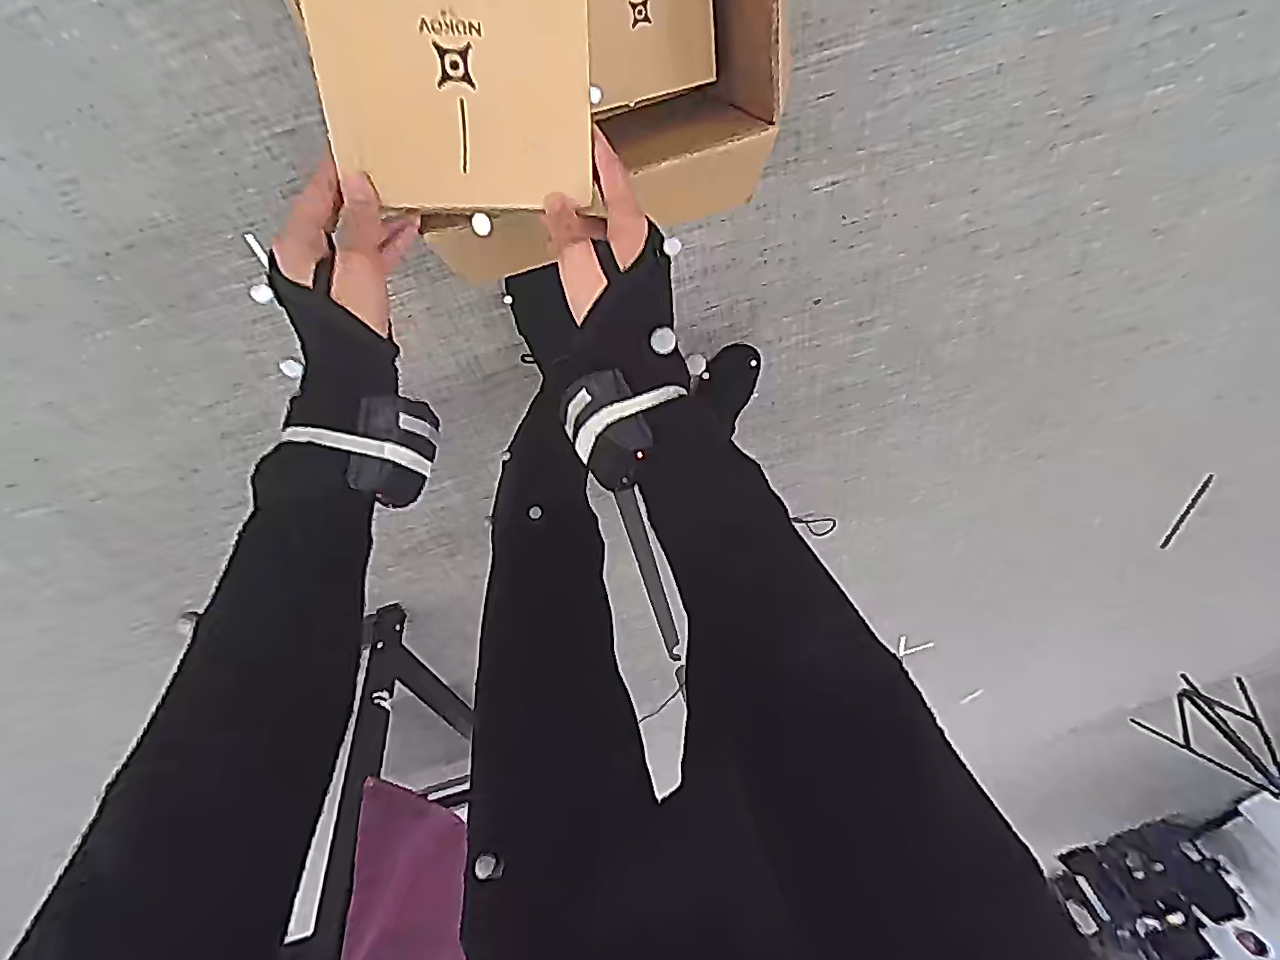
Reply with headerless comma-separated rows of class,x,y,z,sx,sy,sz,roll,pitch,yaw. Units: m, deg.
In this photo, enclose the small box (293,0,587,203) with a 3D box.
small box,-0.129,-0.303,0.391,0.168,0.176,0.179,-4,116,-9
